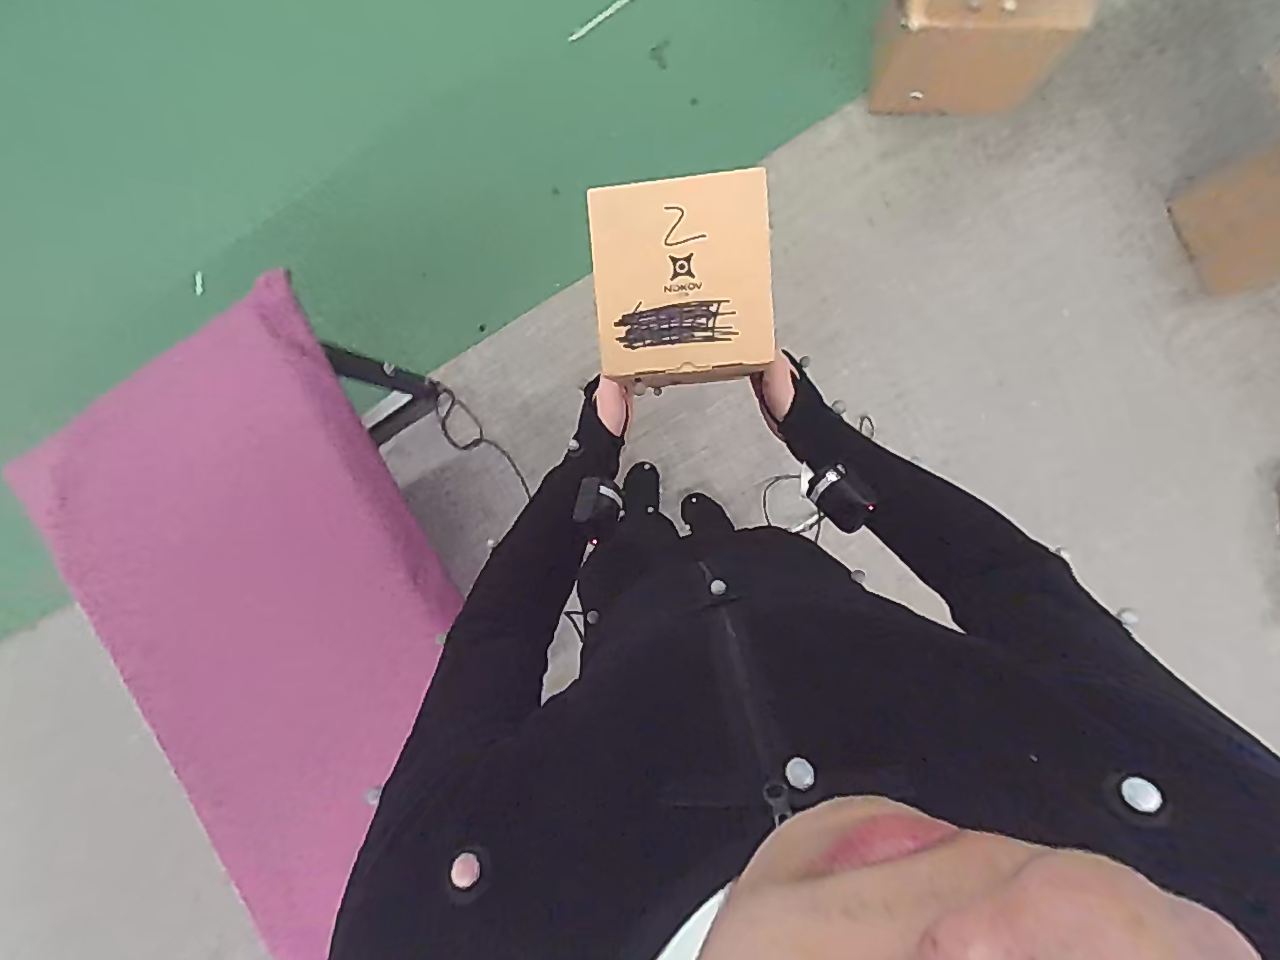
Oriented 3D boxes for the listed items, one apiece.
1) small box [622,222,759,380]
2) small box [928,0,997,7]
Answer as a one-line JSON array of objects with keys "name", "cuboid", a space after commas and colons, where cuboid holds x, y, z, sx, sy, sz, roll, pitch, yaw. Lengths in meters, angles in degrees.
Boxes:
[{"name": "small box", "cuboid": [0.072, -0.230, 0.740, 0.168, 0.176, 0.179, -3, 97, 6]}, {"name": "small box", "cuboid": [0.734, -1.174, 1.160, 0.168, 0.176, 0.179, 4, 93, 6]}]
